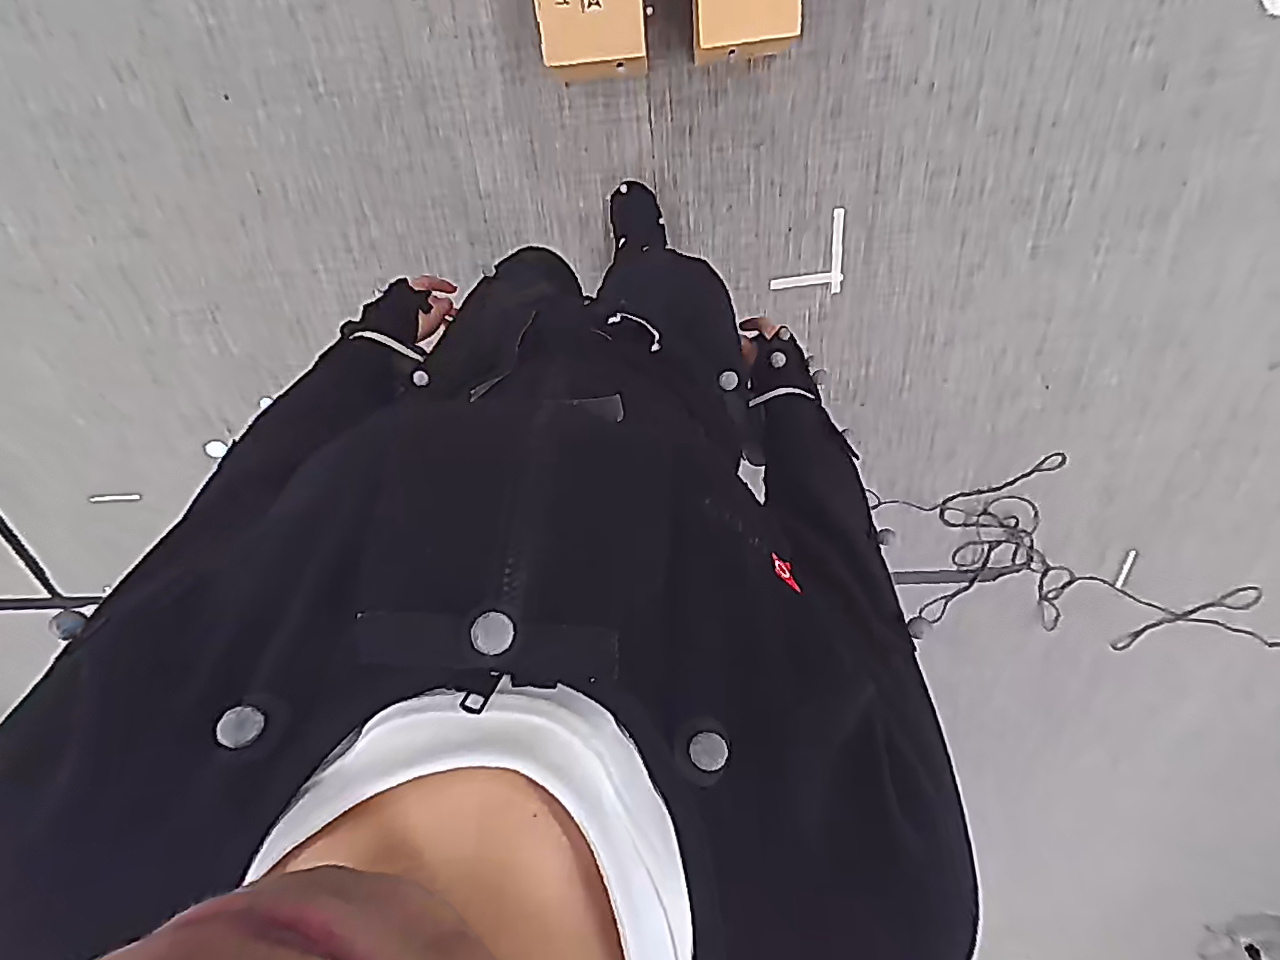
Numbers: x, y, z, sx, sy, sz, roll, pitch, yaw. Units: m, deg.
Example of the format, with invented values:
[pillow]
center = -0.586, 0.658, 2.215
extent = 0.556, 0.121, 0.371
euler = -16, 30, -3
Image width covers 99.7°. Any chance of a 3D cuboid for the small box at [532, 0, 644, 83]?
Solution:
[small box]
center = -0.084, -0.803, 0.934
extent = 0.179, 0.176, 0.168
euler = -3, 119, 4
